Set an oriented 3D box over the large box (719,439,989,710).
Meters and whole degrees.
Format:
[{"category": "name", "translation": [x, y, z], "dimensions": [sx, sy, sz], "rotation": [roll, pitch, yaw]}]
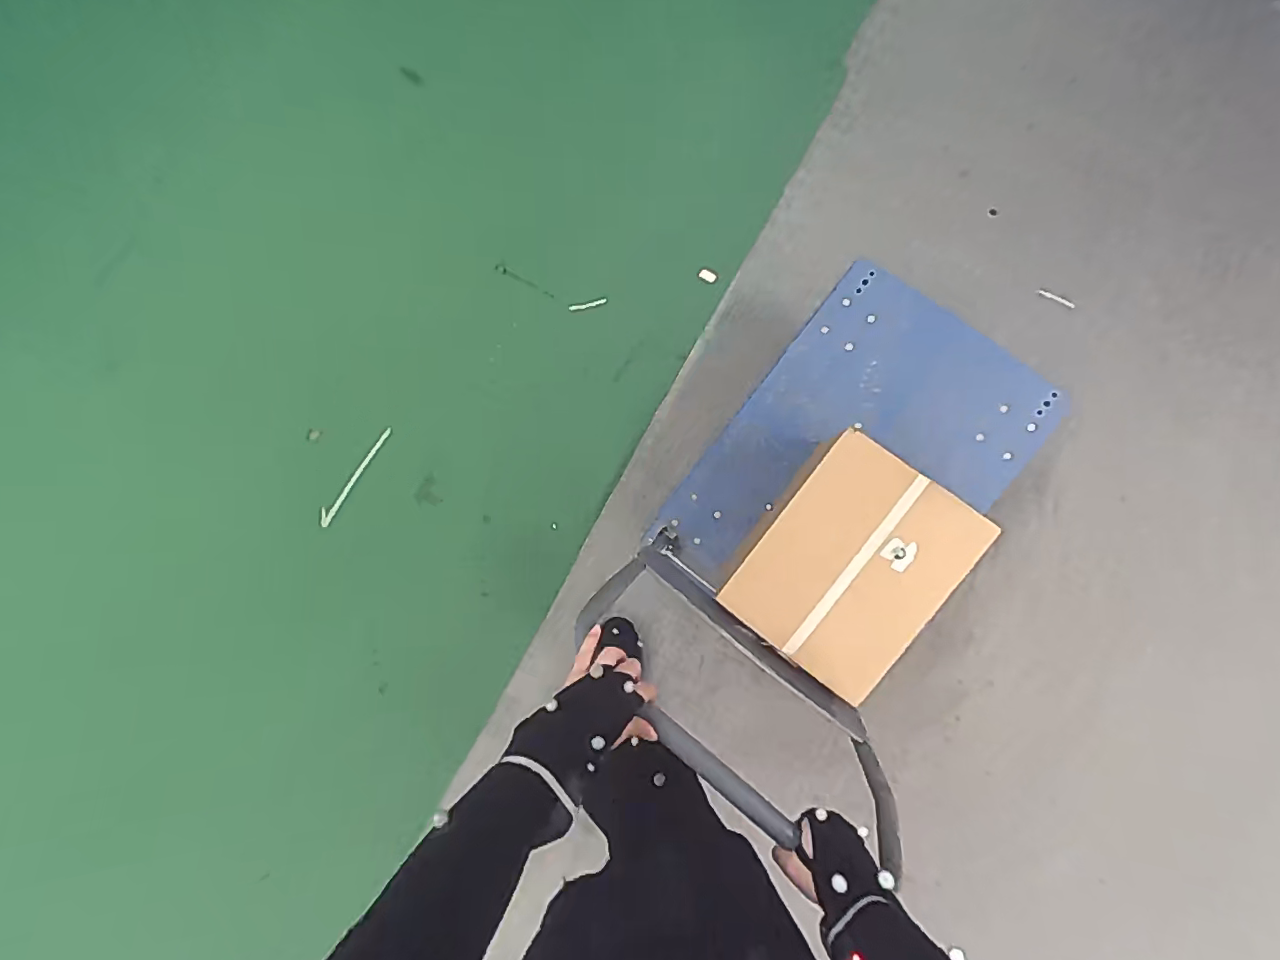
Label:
[{"category": "large box", "translation": [0.405, 0.178, 1.131], "dimensions": [0.320, 0.320, 0.408], "rotation": [38, 94, 8]}]
